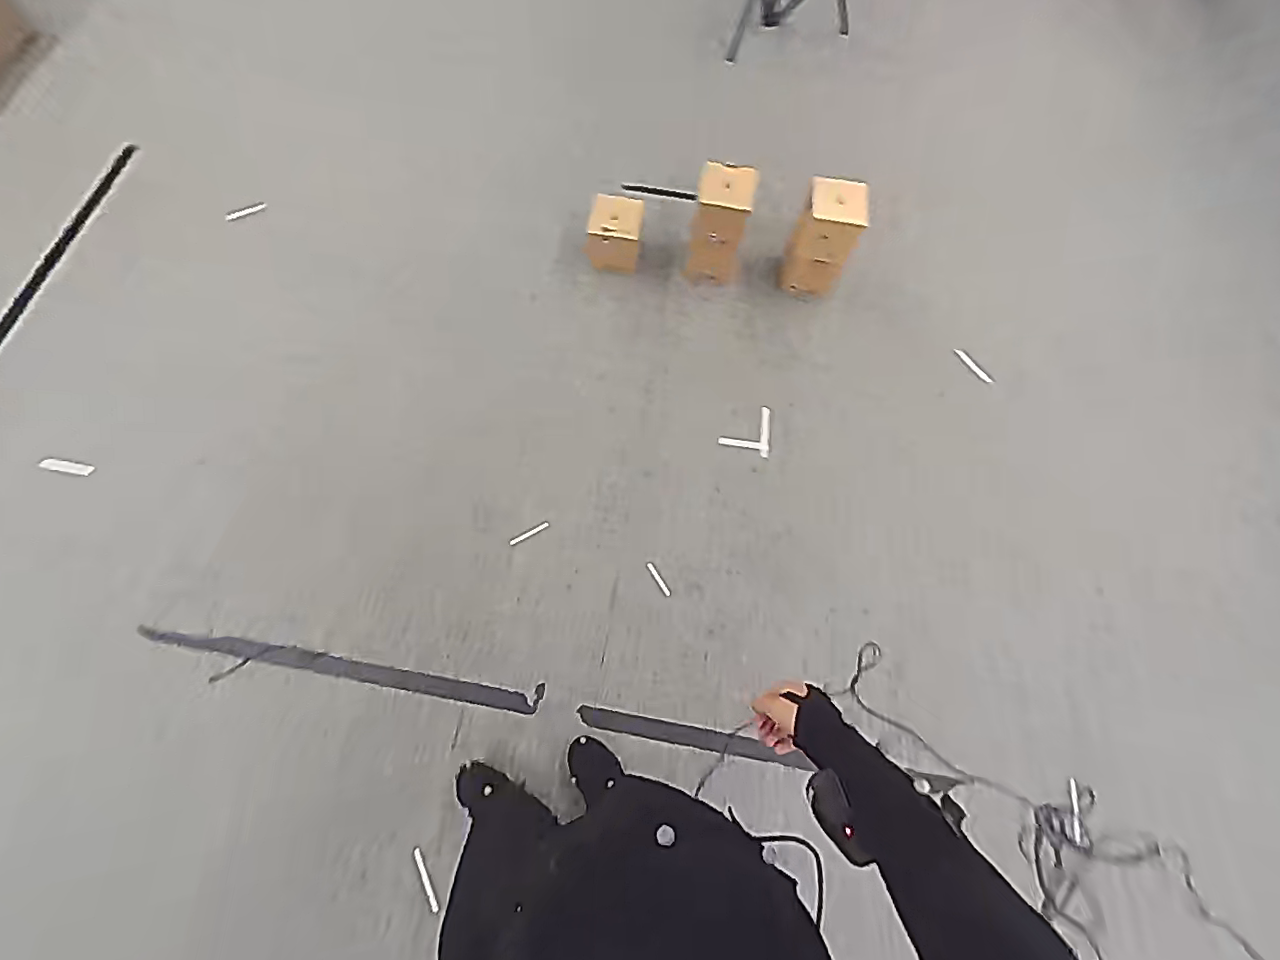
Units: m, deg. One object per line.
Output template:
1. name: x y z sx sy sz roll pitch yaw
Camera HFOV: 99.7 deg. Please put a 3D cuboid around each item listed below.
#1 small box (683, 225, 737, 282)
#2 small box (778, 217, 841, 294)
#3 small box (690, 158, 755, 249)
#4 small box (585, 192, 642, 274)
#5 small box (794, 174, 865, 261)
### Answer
1. small box: 0.245 -0.816 1.858 0.168 0.176 0.179 10 70 1
2. small box: 0.582 -0.768 1.861 0.168 0.176 0.179 7 69 -1
3. small box: 0.255 -0.867 1.702 0.168 0.176 0.179 10 69 1
4. small box: -0.091 -0.843 1.850 0.168 0.176 0.179 9 69 0
5. small box: 0.595 -0.824 1.709 0.168 0.176 0.179 8 68 -1
